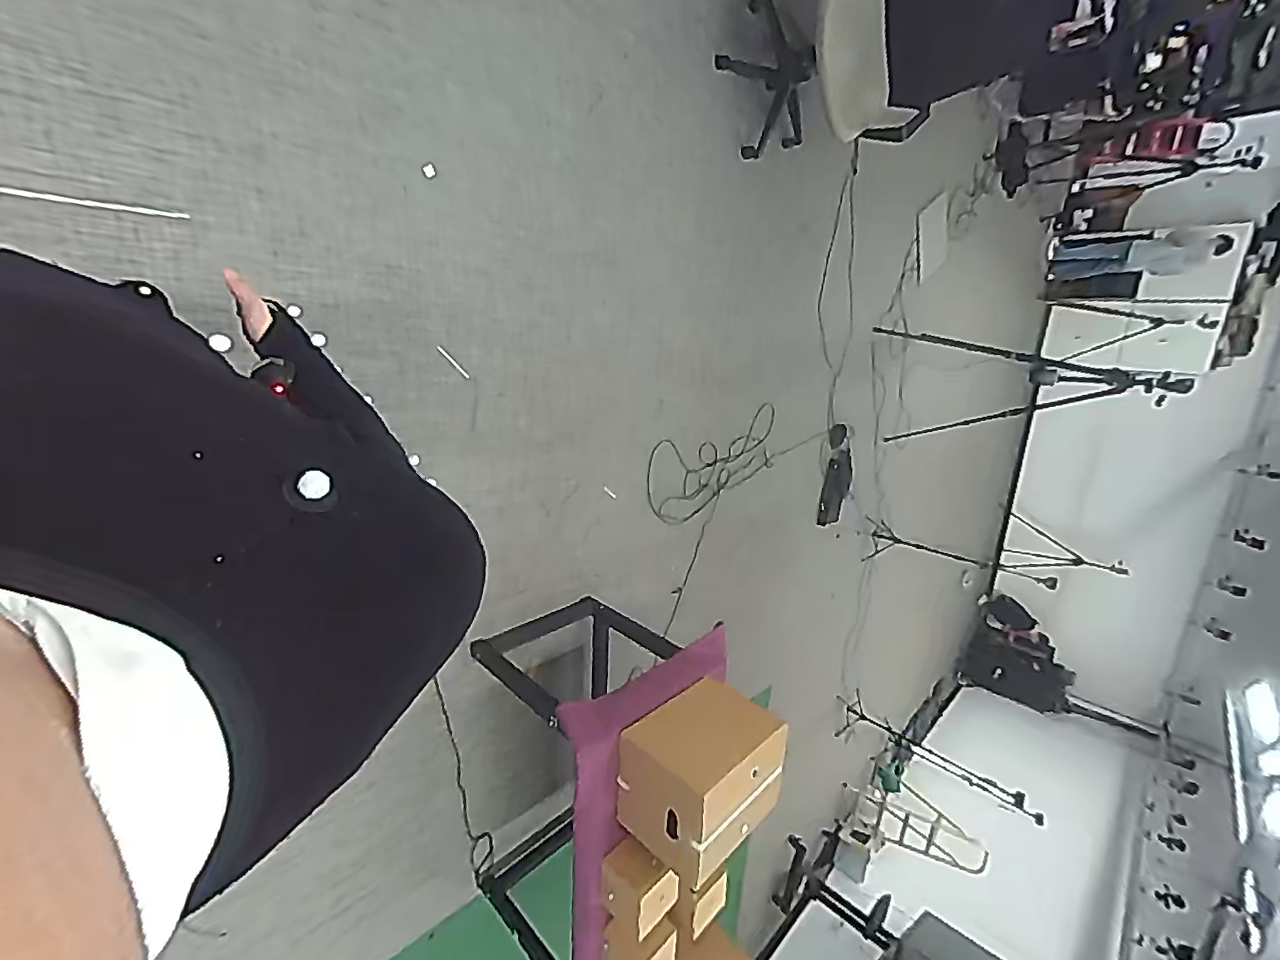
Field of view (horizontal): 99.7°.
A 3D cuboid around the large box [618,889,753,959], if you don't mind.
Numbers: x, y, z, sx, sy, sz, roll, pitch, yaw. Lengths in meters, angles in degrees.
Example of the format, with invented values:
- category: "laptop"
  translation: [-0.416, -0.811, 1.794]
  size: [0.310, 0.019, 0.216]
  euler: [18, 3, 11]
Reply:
- category: "large box"
  translation: [0.145, 1.783, 1.898]
  size: [0.408, 0.320, 0.320]
  euler: [-11, 109, -44]

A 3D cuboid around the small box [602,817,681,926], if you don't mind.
- category: "small box"
  translation: [0.005, 1.188, 1.659]
  size: [0.179, 0.176, 0.168]
  euler: [-15, 112, -45]
